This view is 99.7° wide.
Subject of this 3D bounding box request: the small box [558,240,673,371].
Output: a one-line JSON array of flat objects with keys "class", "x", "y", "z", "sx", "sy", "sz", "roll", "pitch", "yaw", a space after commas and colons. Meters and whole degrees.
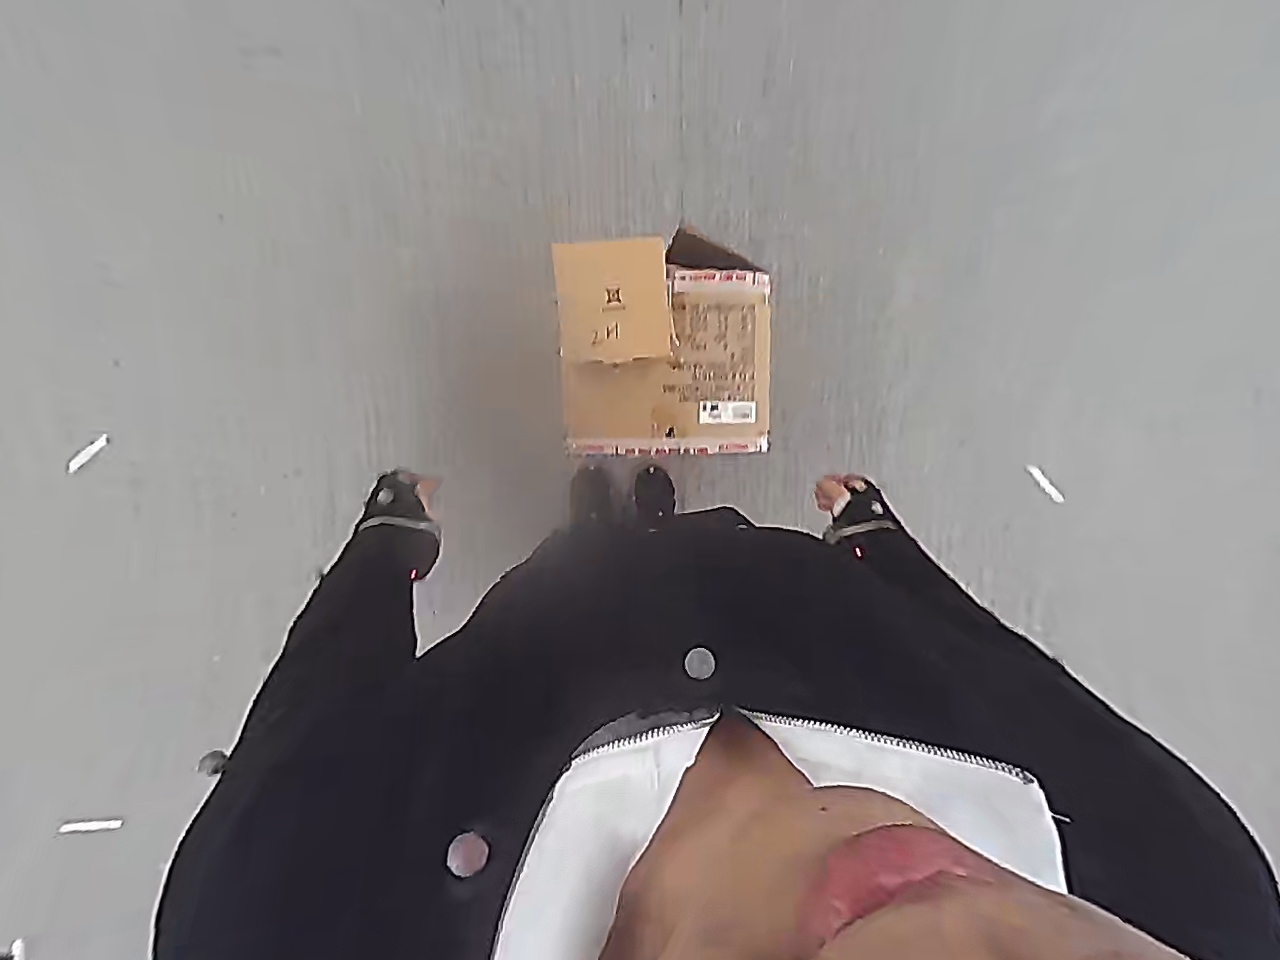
[{"class": "small box", "x": -0.040, "y": -0.275, "z": 0.883, "sx": 0.168, "sy": 0.176, "sz": 0.179, "roll": -4, "pitch": 99, "yaw": -2}]
